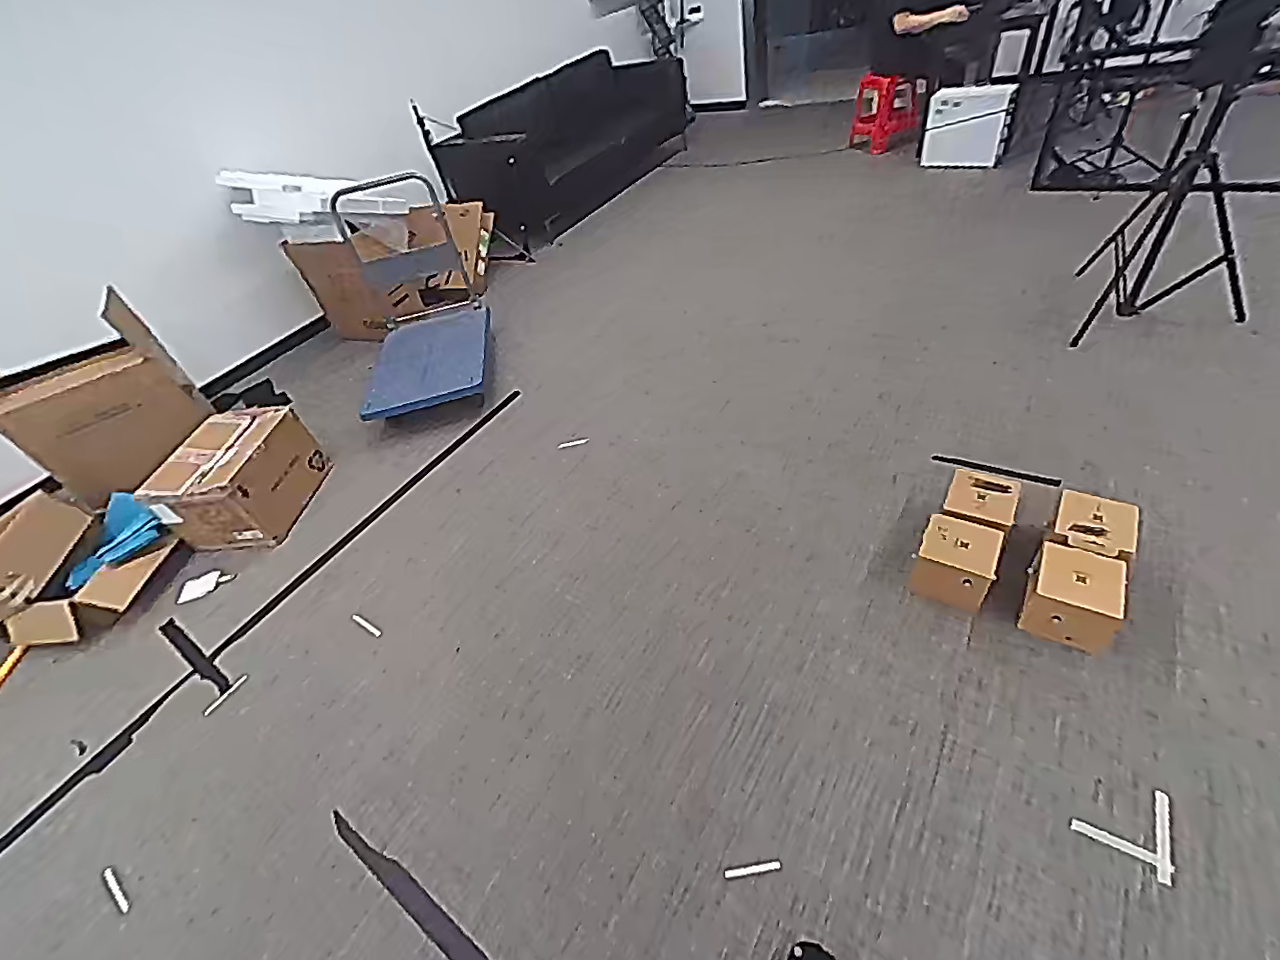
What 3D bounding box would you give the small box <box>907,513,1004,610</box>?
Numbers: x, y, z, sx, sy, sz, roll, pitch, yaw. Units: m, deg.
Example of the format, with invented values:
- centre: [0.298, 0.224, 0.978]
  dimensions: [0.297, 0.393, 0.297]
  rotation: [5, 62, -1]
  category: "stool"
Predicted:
- centre: [0.843, 0.224, 1.456]
  dimensions: [0.179, 0.176, 0.168]
  rotation: [18, 53, 30]
  category: "small box"
